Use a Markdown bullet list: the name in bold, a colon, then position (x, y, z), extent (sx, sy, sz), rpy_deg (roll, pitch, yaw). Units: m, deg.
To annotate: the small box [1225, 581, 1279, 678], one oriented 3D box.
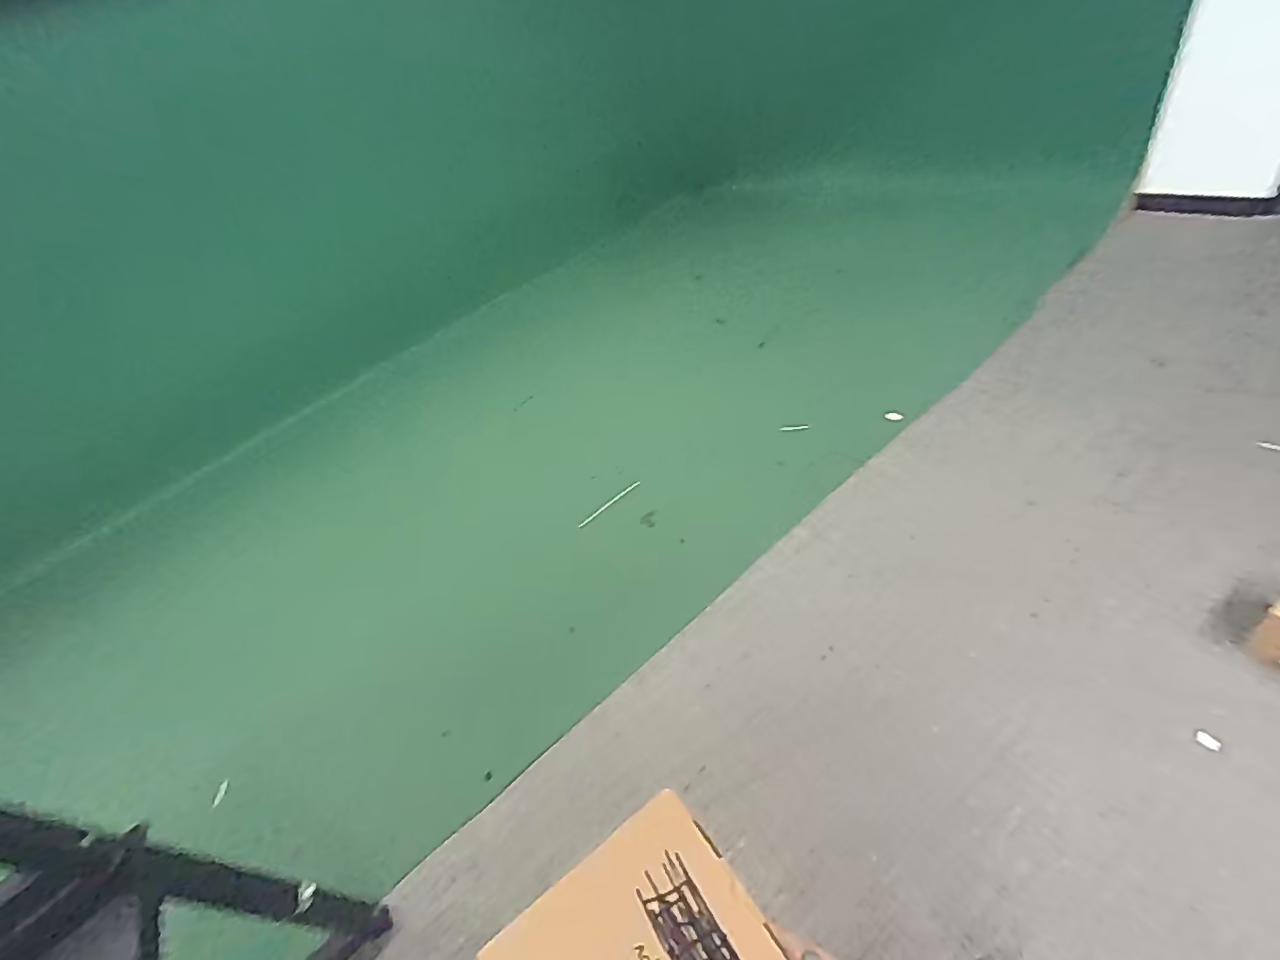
- **small box**: position (1.473, 0.329, 1.198), extent (0.179, 0.176, 0.168), rpy_deg (-34, 44, -12)
